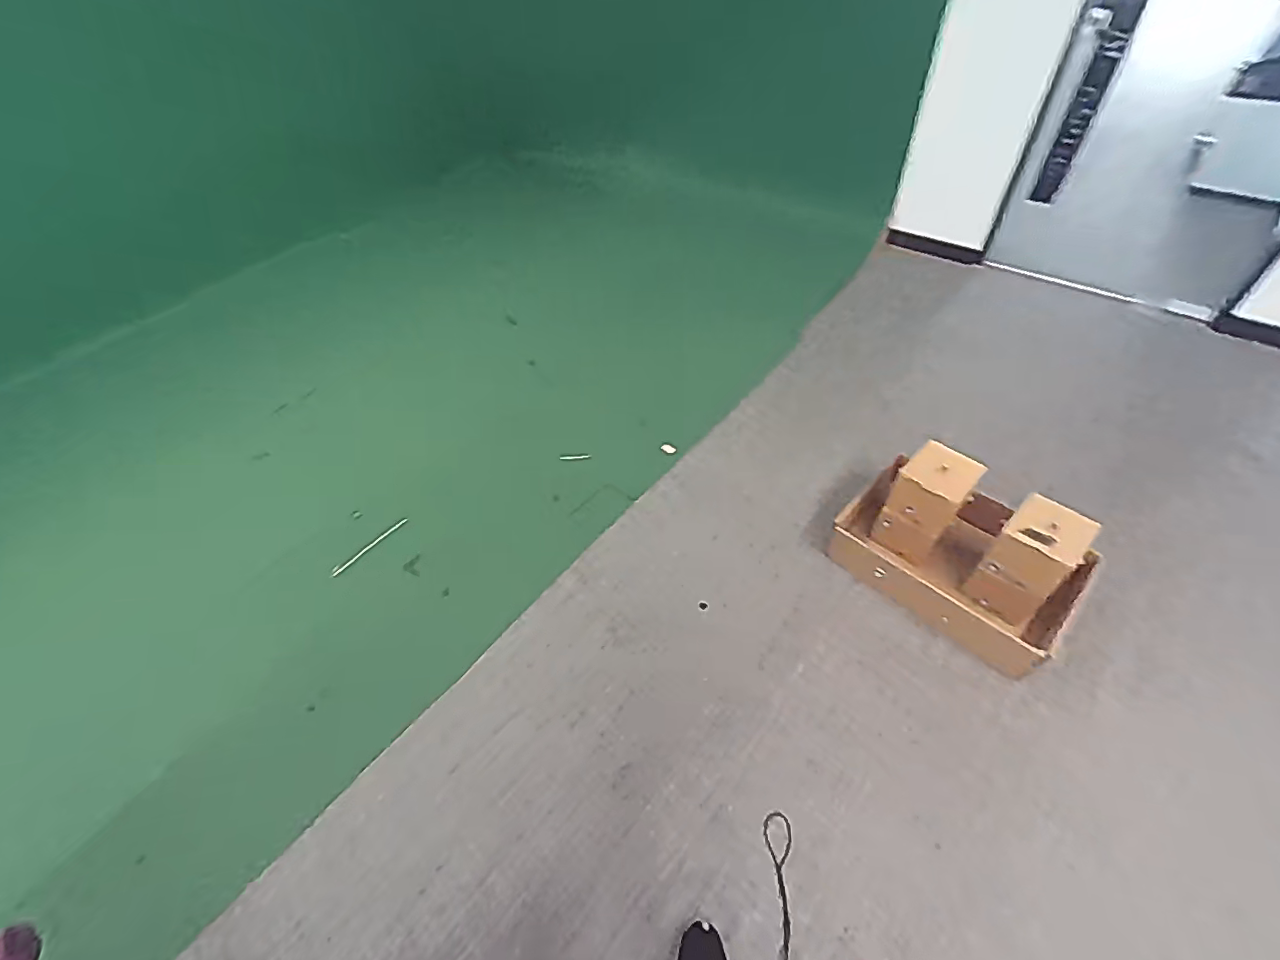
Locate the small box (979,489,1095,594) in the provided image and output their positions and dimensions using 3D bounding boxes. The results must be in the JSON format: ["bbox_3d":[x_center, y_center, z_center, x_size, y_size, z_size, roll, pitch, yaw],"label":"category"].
[{"bbox_3d":[1.026,0.164,1.414,0.179,0.176,0.168,-38,56,-23],"label":"small box"}]

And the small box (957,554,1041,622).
[{"bbox_3d":[1.043,0.268,1.540,0.168,0.176,0.179,35,63,31],"label":"small box"}]

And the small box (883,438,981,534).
[{"bbox_3d":[0.830,0.018,1.556,0.168,0.176,0.179,36,63,29],"label":"small box"}]
